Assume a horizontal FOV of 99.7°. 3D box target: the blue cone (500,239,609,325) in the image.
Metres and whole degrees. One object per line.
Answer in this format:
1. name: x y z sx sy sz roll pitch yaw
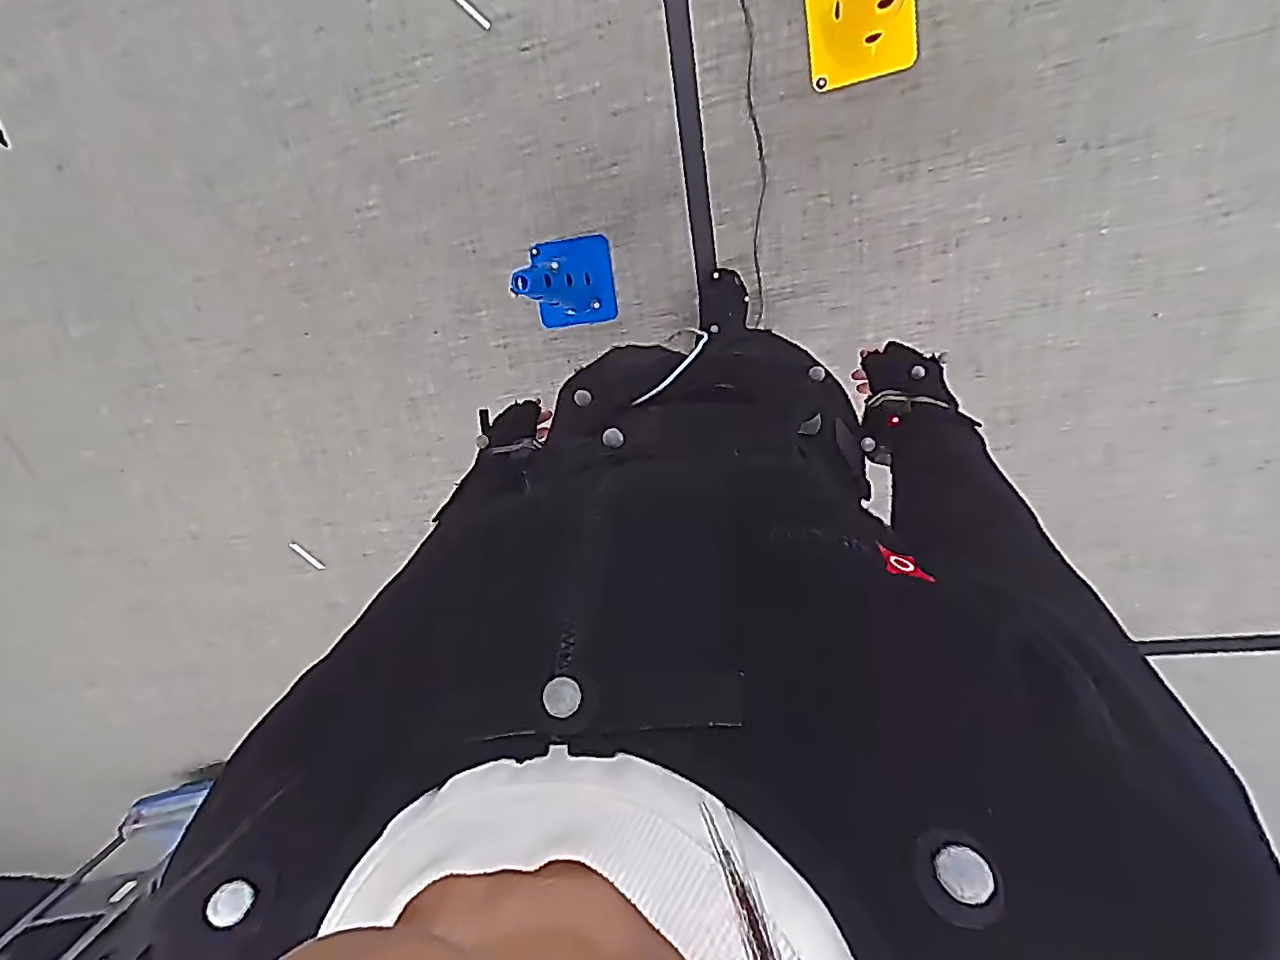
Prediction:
1. blue cone: -0.203 -0.432 1.181 0.192 0.380 0.193 -2 109 12
